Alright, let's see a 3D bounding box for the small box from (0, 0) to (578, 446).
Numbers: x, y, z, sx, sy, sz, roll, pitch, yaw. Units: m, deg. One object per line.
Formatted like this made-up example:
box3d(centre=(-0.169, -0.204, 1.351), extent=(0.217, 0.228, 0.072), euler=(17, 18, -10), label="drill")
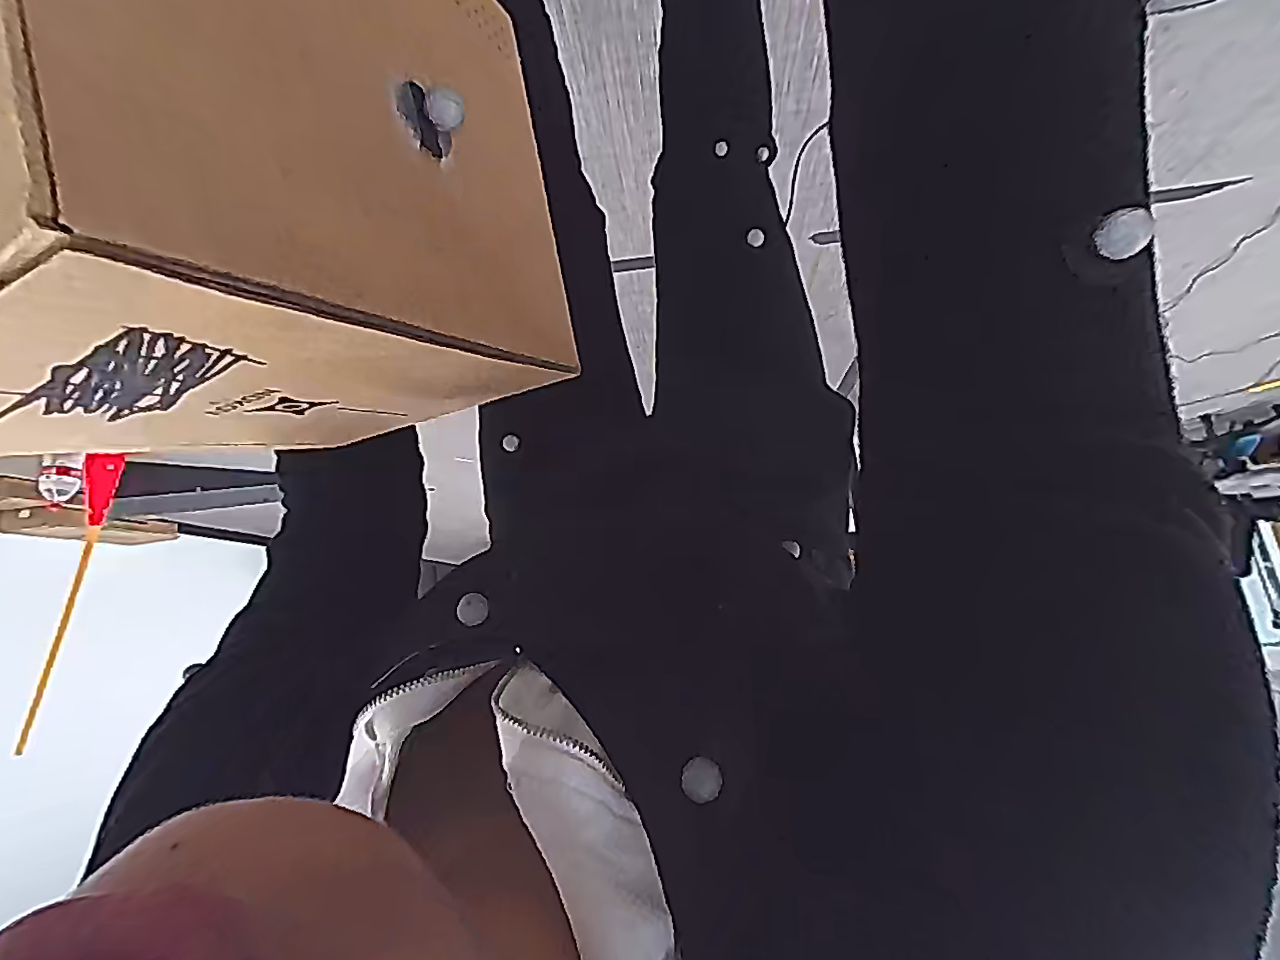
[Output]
box3d(centre=(-0.148, -0.114, 0.199), extent=(0.168, 0.176, 0.179), euler=(-11, 180, 22), label="small box")
